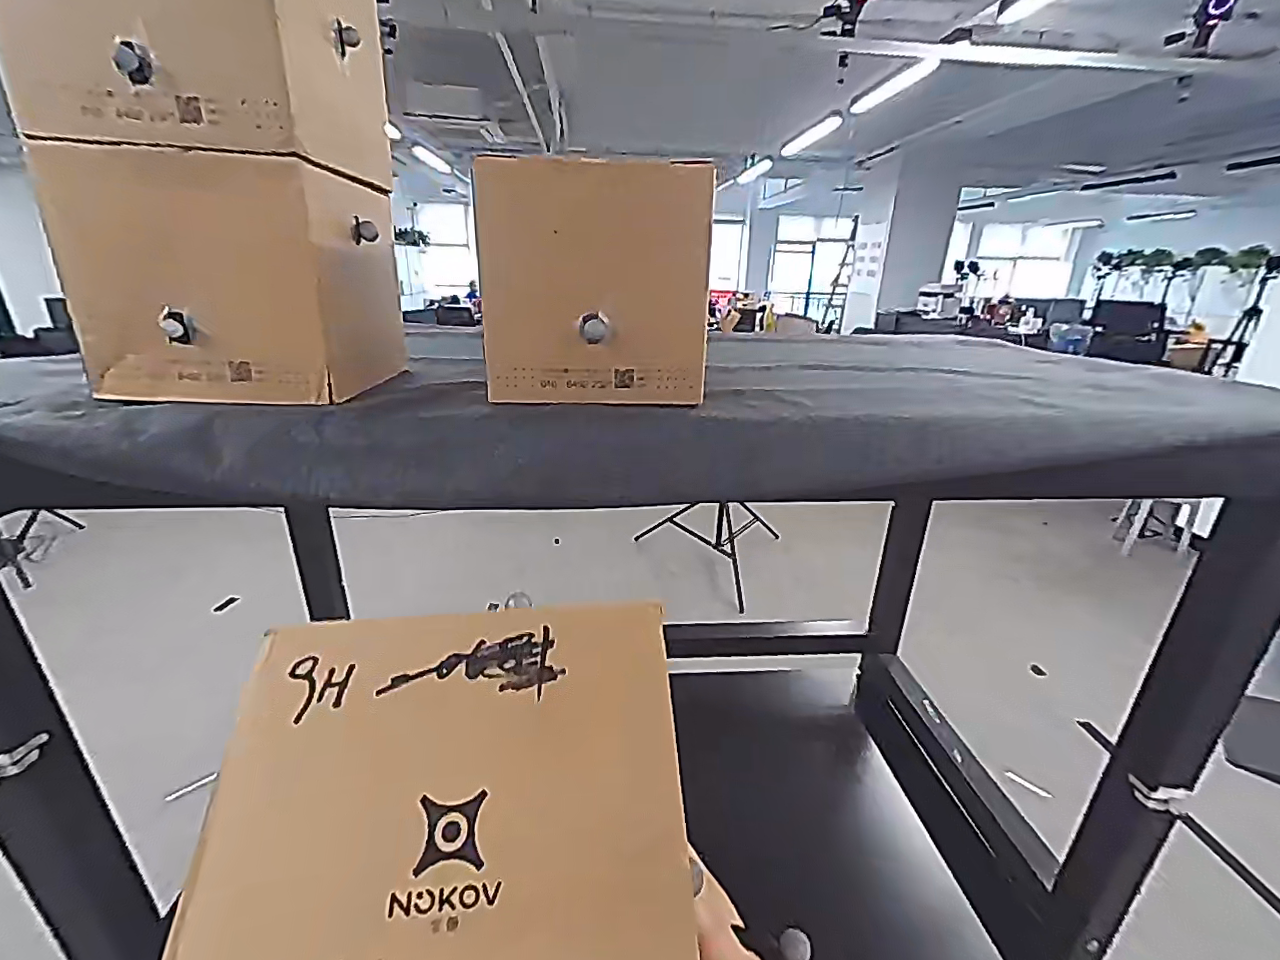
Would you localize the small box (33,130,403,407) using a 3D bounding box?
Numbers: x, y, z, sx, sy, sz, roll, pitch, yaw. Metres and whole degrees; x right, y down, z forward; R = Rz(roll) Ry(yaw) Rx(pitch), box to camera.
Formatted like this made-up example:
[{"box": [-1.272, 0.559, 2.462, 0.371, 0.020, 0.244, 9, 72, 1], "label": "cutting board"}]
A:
[{"box": [-0.307, -0.162, 0.444, 0.168, 0.176, 0.179, 0, 20, -6], "label": "small box"}]

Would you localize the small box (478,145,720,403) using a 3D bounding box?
[{"box": [-0.034, -0.166, 0.463, 0.168, 0.176, 0.179, 0, 19, -4], "label": "small box"}]
